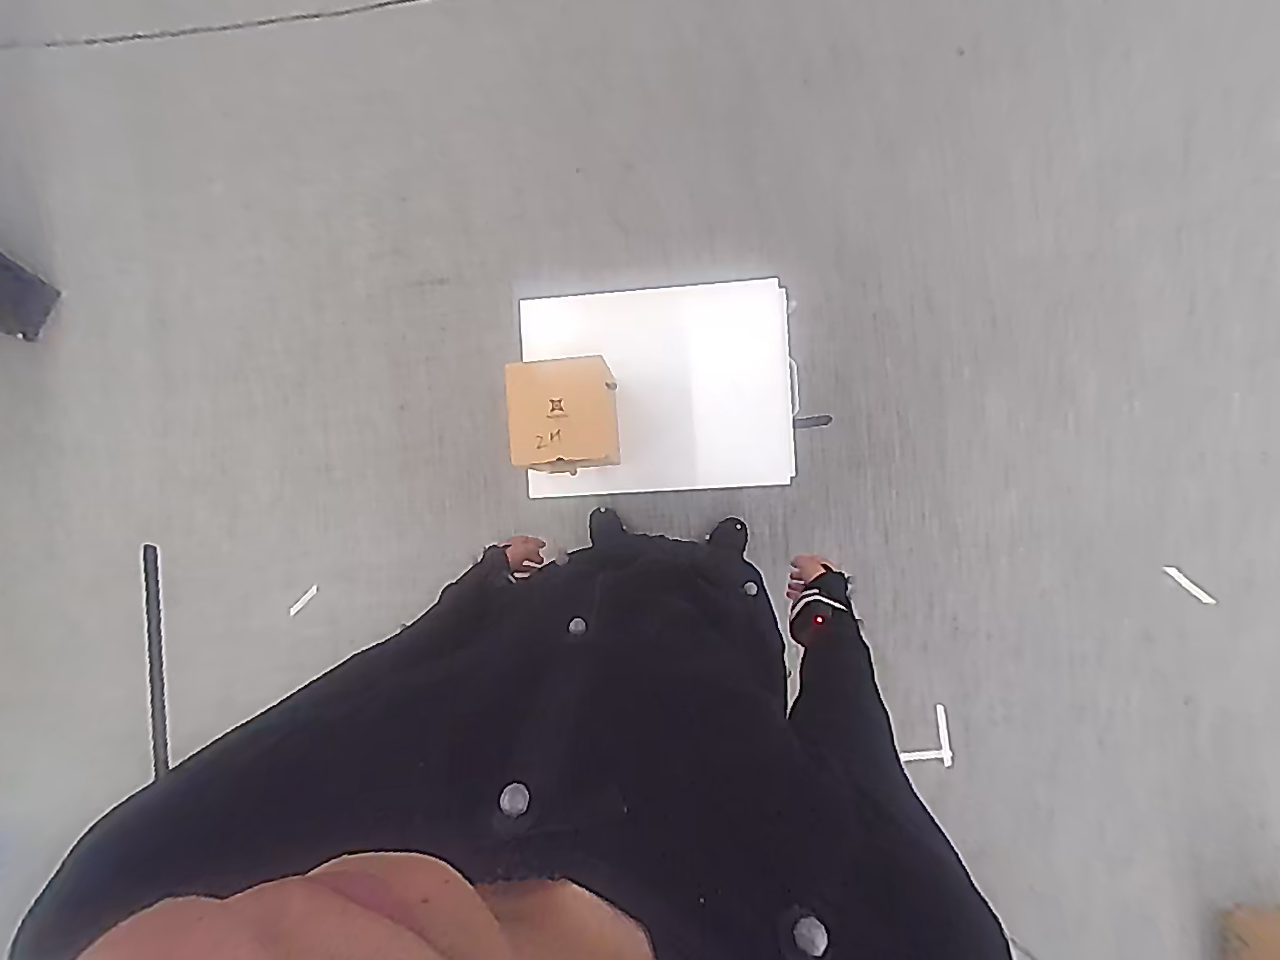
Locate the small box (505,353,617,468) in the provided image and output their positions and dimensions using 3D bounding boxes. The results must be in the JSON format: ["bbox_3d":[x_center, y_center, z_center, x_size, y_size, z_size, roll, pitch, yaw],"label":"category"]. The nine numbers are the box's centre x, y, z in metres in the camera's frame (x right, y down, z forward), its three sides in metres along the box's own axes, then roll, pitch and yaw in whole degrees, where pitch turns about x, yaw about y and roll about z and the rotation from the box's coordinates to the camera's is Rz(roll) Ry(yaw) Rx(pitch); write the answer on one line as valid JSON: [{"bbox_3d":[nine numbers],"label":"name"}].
[{"bbox_3d":[-0.135,-0.117,0.971,0.168,0.176,0.179,-4,89,5],"label":"small box"}]
